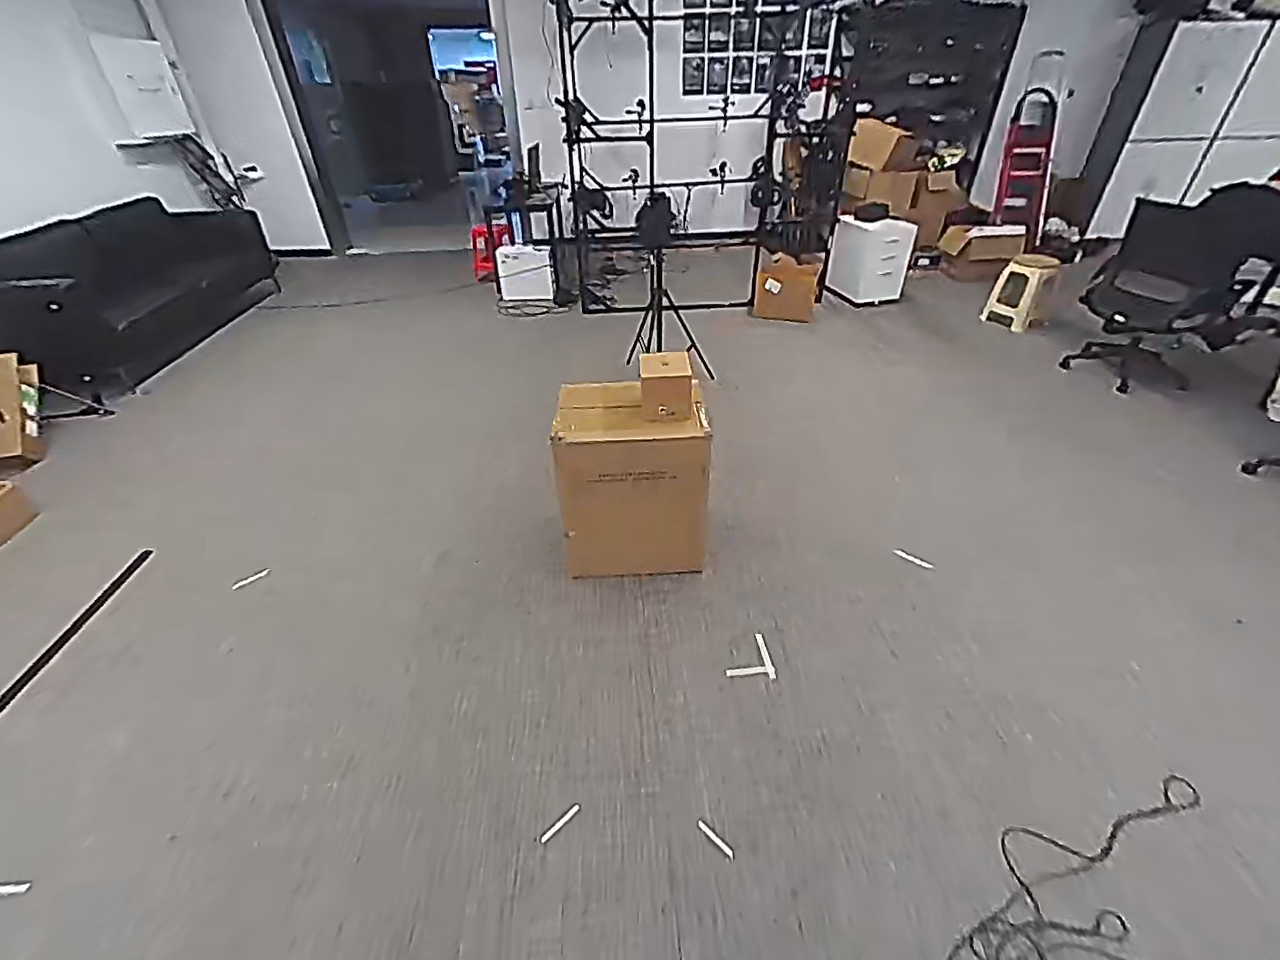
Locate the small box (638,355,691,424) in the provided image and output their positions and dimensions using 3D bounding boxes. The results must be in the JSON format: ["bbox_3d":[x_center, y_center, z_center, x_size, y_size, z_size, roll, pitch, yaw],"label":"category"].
[{"bbox_3d":[0.080,-0.306,1.833,0.168,0.176,0.179,-4,38,0],"label":"small box"}]
